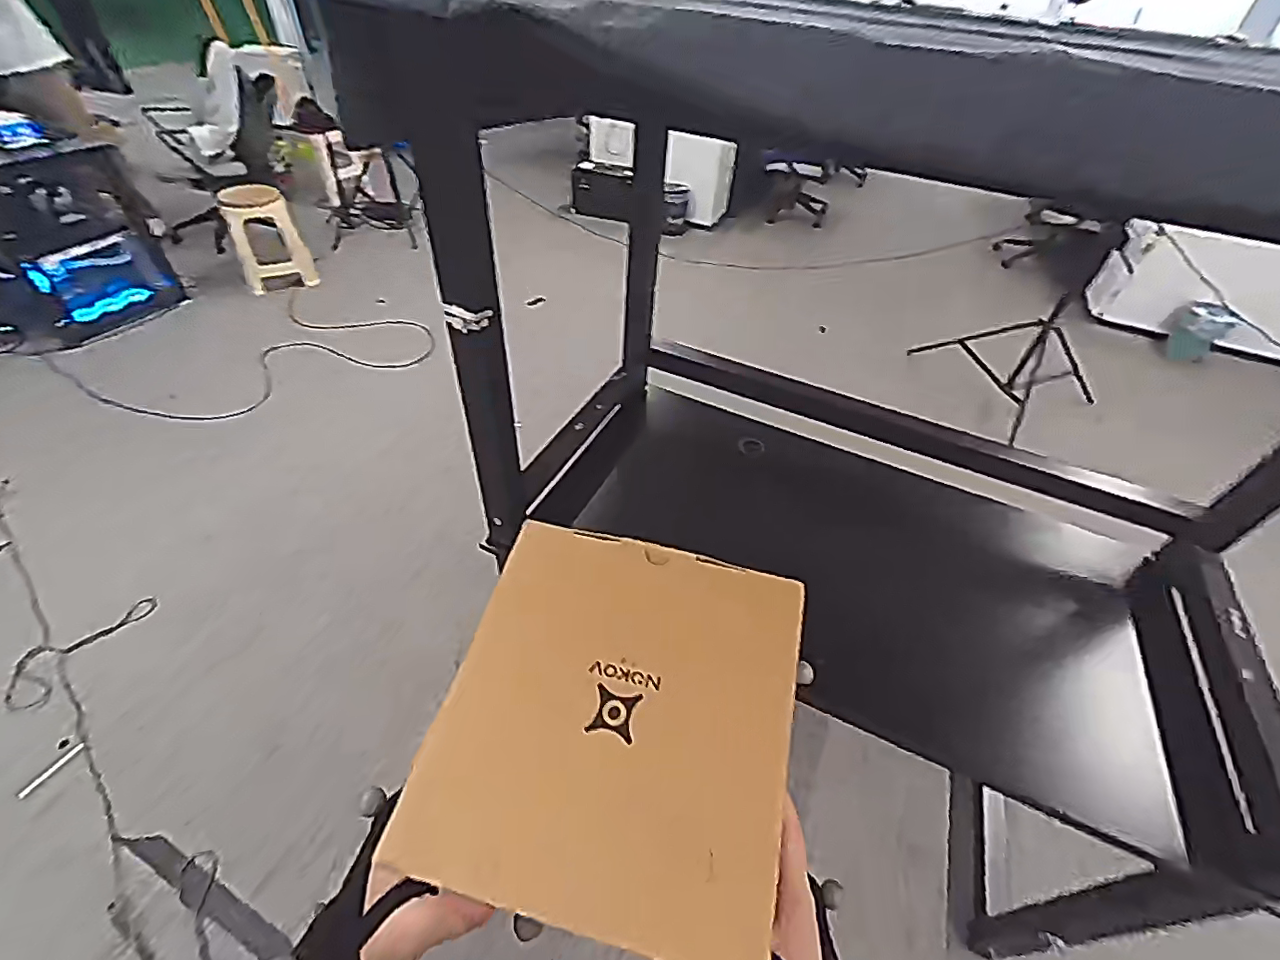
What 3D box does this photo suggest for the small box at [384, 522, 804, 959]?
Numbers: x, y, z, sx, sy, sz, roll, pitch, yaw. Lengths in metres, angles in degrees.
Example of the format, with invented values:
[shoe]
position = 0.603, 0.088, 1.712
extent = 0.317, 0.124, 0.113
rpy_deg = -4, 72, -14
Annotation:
[small box]
position = -0.008, 0.155, 0.325
extent = 0.168, 0.176, 0.179
rpy_deg = 11, 54, 8
